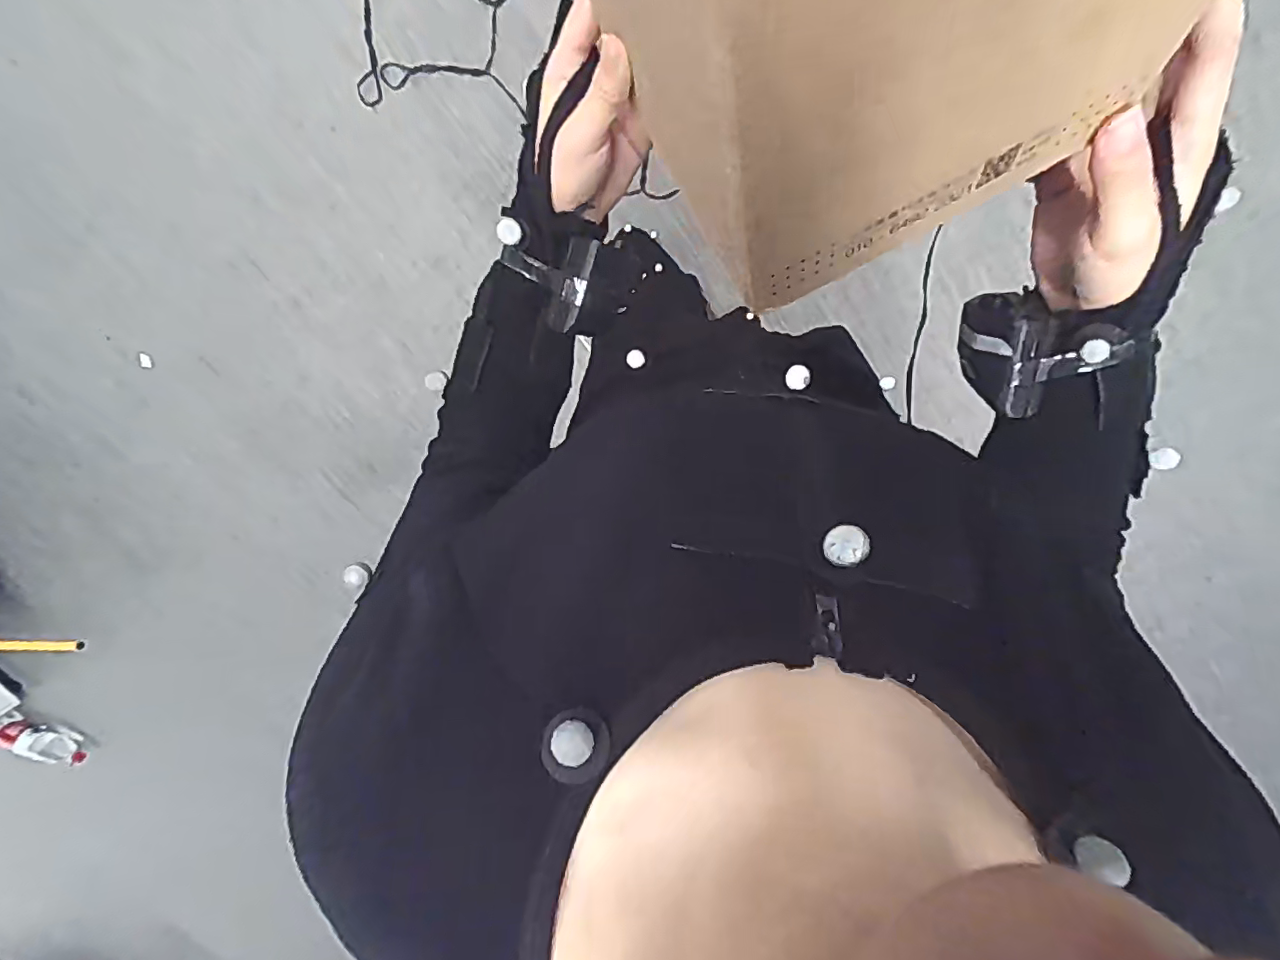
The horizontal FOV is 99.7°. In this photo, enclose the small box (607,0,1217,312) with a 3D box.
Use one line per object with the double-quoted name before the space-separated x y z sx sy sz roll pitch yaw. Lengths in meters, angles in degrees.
"small box" 0.078 -0.198 0.191 0.168 0.176 0.179 -27 72 8
